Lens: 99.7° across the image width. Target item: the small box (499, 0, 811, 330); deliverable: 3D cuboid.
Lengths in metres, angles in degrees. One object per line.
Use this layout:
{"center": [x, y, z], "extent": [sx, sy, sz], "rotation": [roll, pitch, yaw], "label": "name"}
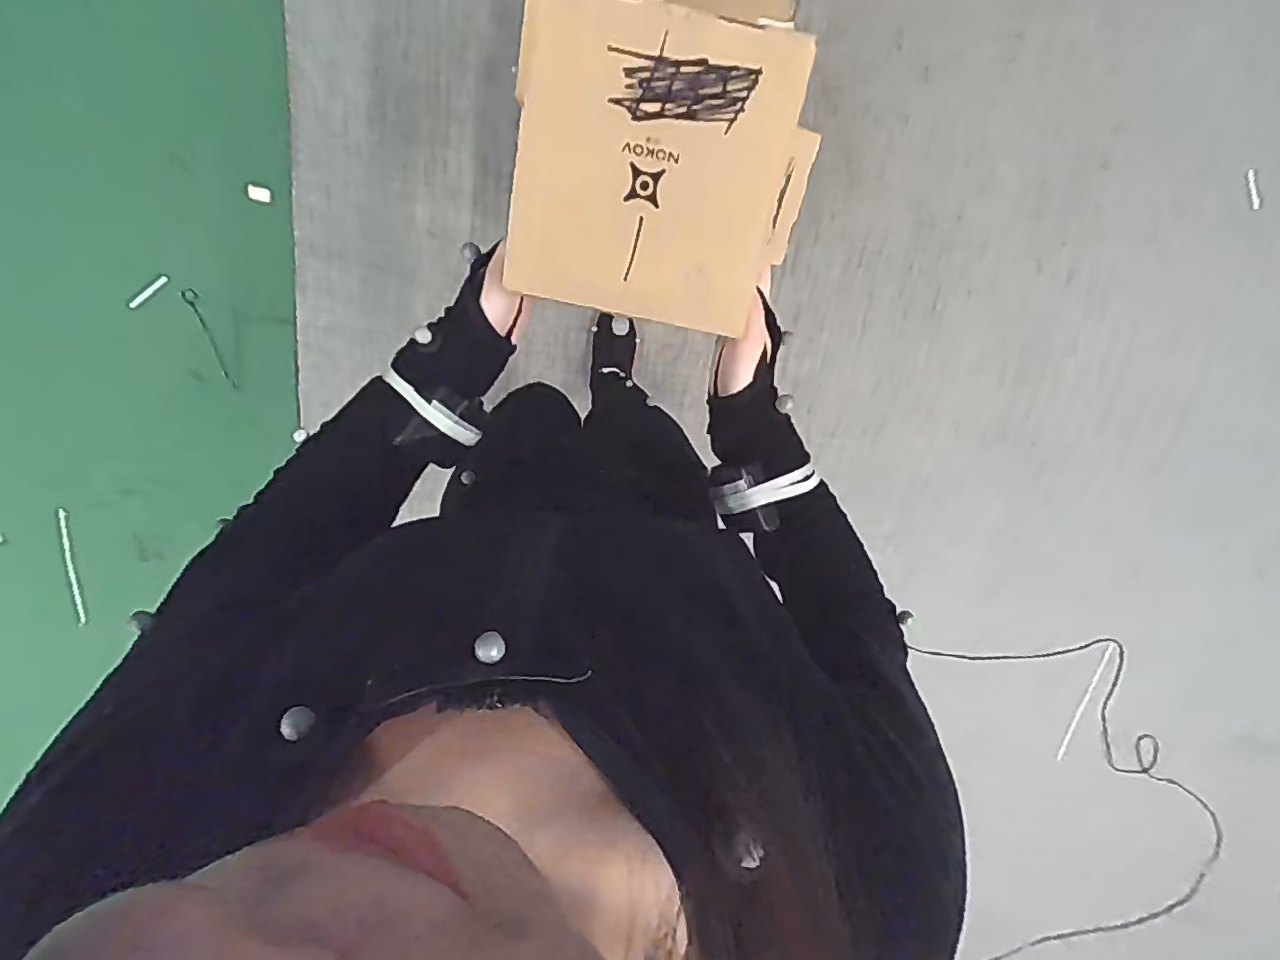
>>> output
{"center": [0.005, -0.219, 0.410], "extent": [0.168, 0.176, 0.179], "rotation": [11, 107, -2], "label": "small box"}
